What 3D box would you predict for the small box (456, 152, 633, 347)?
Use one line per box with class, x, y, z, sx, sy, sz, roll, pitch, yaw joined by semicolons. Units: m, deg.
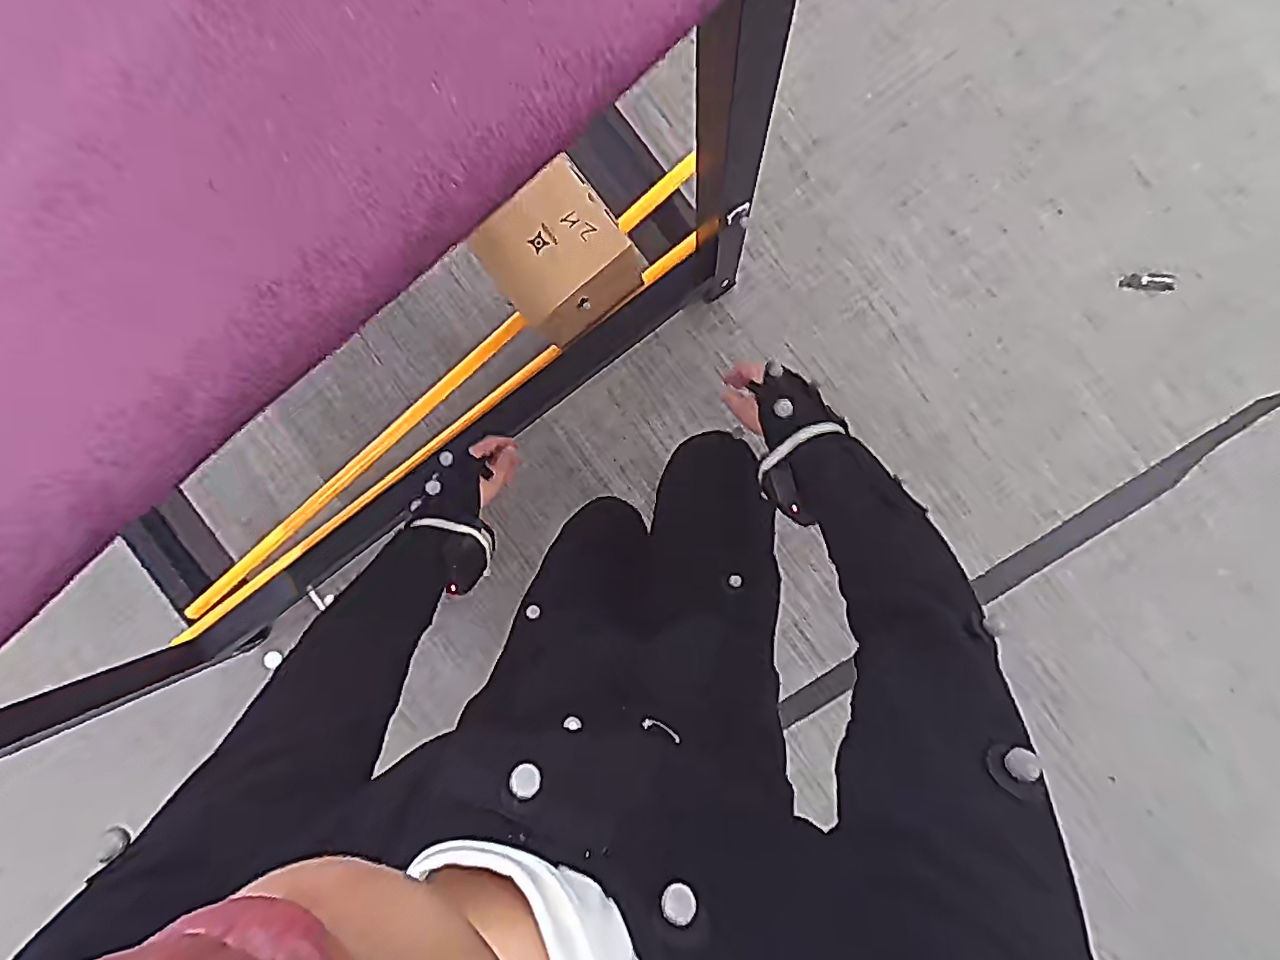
small box;-0.126;-0.320;0.796;0.179;0.176;0.168;-37;89;5
